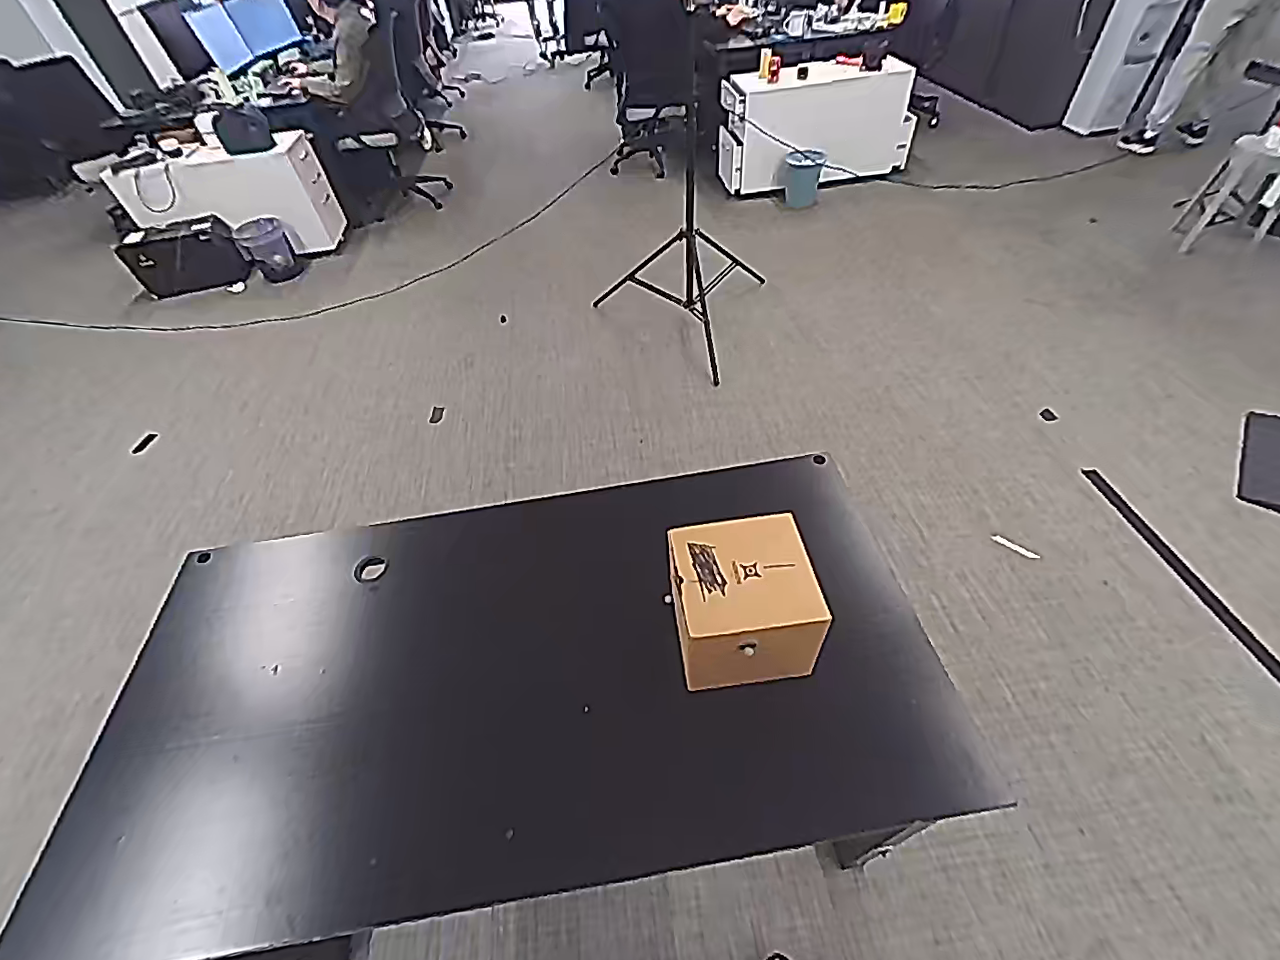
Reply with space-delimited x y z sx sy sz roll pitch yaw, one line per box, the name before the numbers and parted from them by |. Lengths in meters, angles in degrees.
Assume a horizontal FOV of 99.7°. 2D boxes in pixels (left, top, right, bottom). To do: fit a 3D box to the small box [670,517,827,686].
small box | 0.142 0.176 0.766 0.179 0.176 0.168 -7 48 -1
